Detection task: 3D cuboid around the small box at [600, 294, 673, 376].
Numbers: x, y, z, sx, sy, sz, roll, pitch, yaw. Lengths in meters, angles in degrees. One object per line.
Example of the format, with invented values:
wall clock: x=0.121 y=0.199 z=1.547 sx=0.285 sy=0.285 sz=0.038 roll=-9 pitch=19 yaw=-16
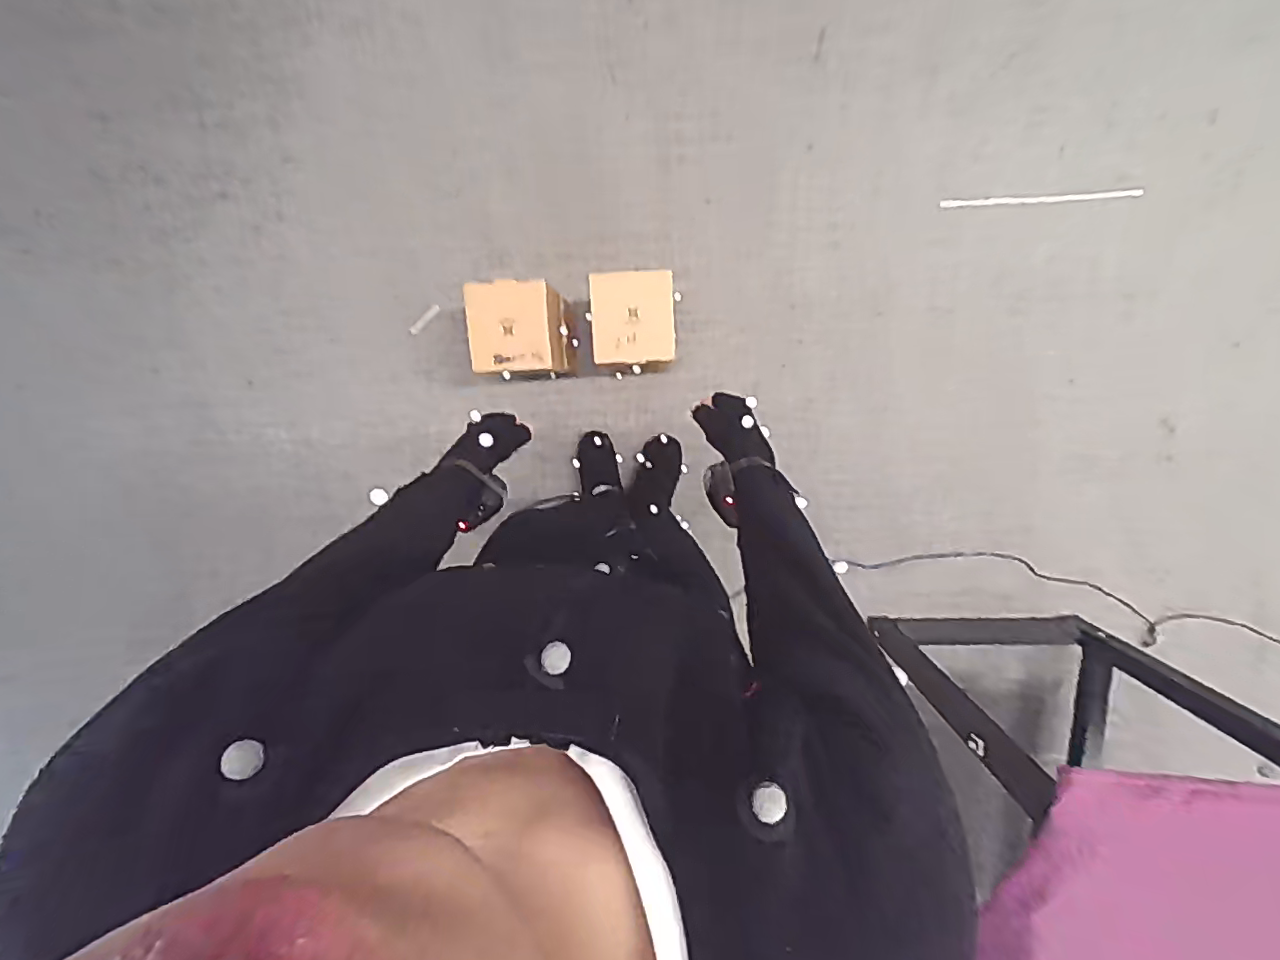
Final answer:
small box: x=-0.005 y=-0.345 z=1.319 sx=0.168 sy=0.176 sz=0.179 roll=-3 pitch=98 yaw=1
